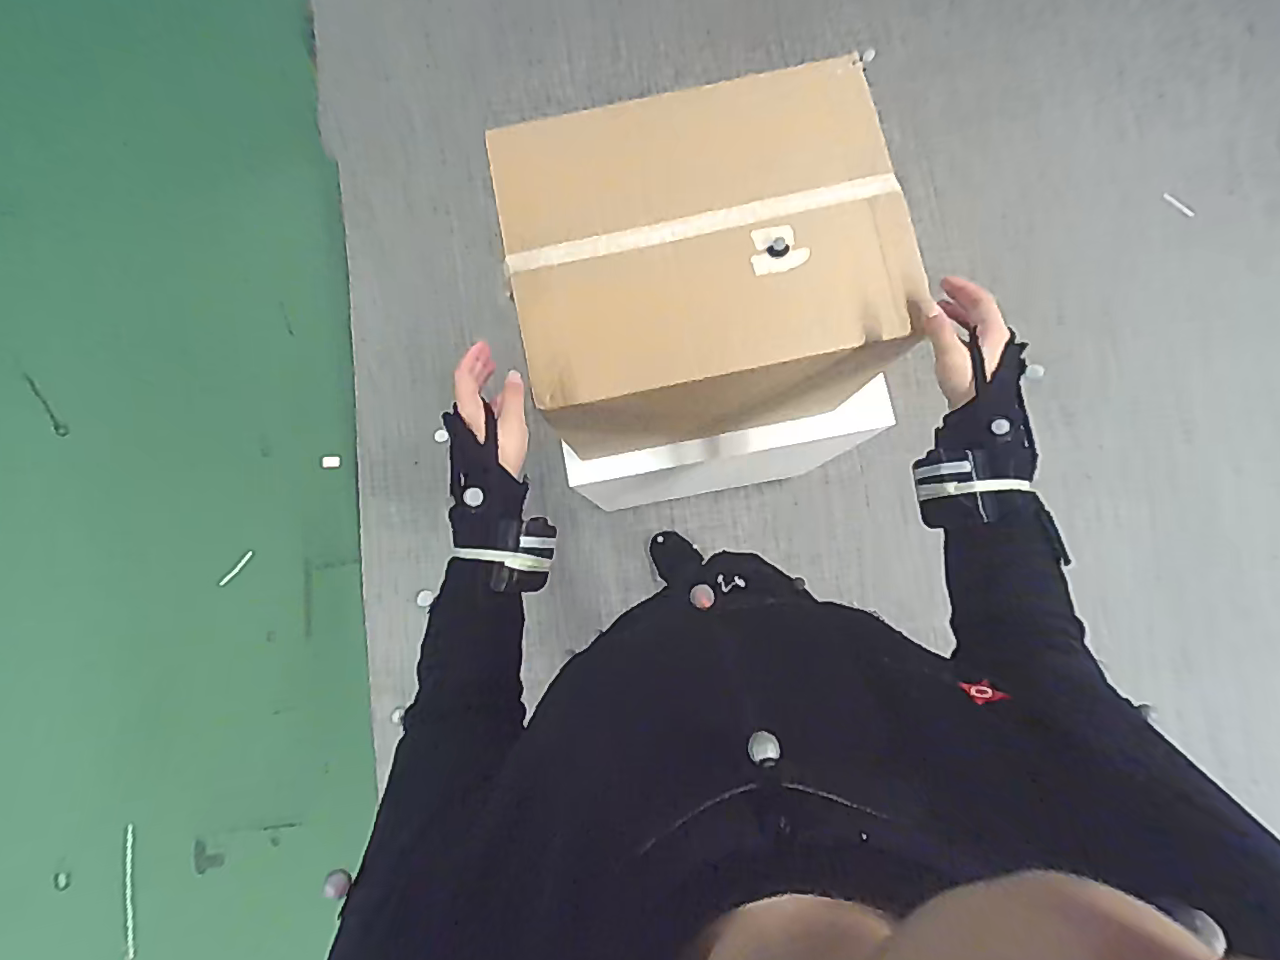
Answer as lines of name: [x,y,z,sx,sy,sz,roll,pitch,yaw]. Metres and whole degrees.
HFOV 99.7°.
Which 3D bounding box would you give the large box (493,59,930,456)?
large box: [0.068,-0.243,0.703,0.408,0.320,0.320,-12,83,-1]
